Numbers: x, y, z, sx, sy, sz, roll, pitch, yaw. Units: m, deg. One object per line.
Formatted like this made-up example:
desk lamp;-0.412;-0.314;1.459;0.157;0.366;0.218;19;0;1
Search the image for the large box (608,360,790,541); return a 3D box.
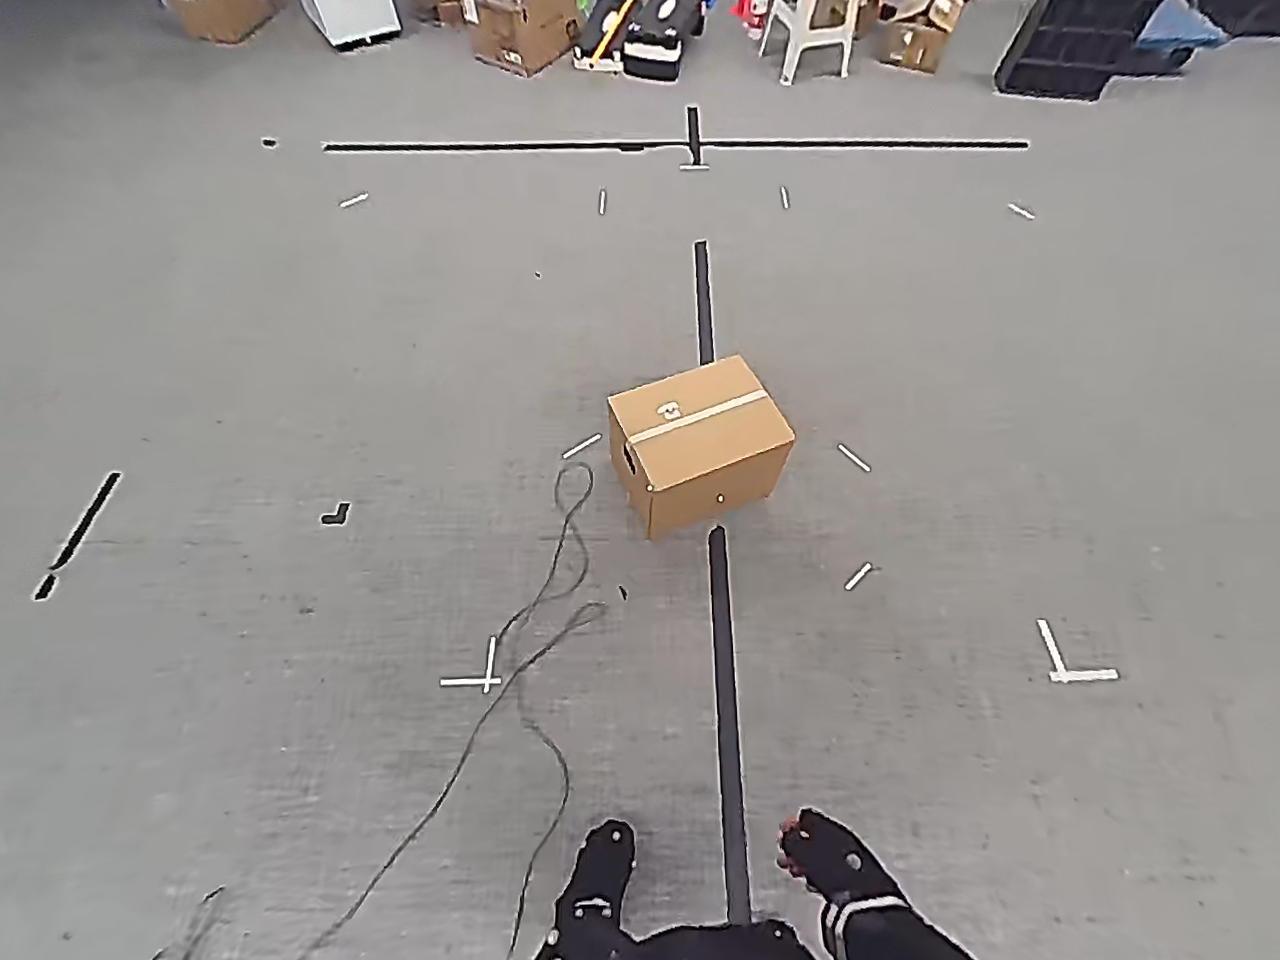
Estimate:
large box;0.153;-0.079;1.553;0.408;0.320;0.320;-21;62;-11
